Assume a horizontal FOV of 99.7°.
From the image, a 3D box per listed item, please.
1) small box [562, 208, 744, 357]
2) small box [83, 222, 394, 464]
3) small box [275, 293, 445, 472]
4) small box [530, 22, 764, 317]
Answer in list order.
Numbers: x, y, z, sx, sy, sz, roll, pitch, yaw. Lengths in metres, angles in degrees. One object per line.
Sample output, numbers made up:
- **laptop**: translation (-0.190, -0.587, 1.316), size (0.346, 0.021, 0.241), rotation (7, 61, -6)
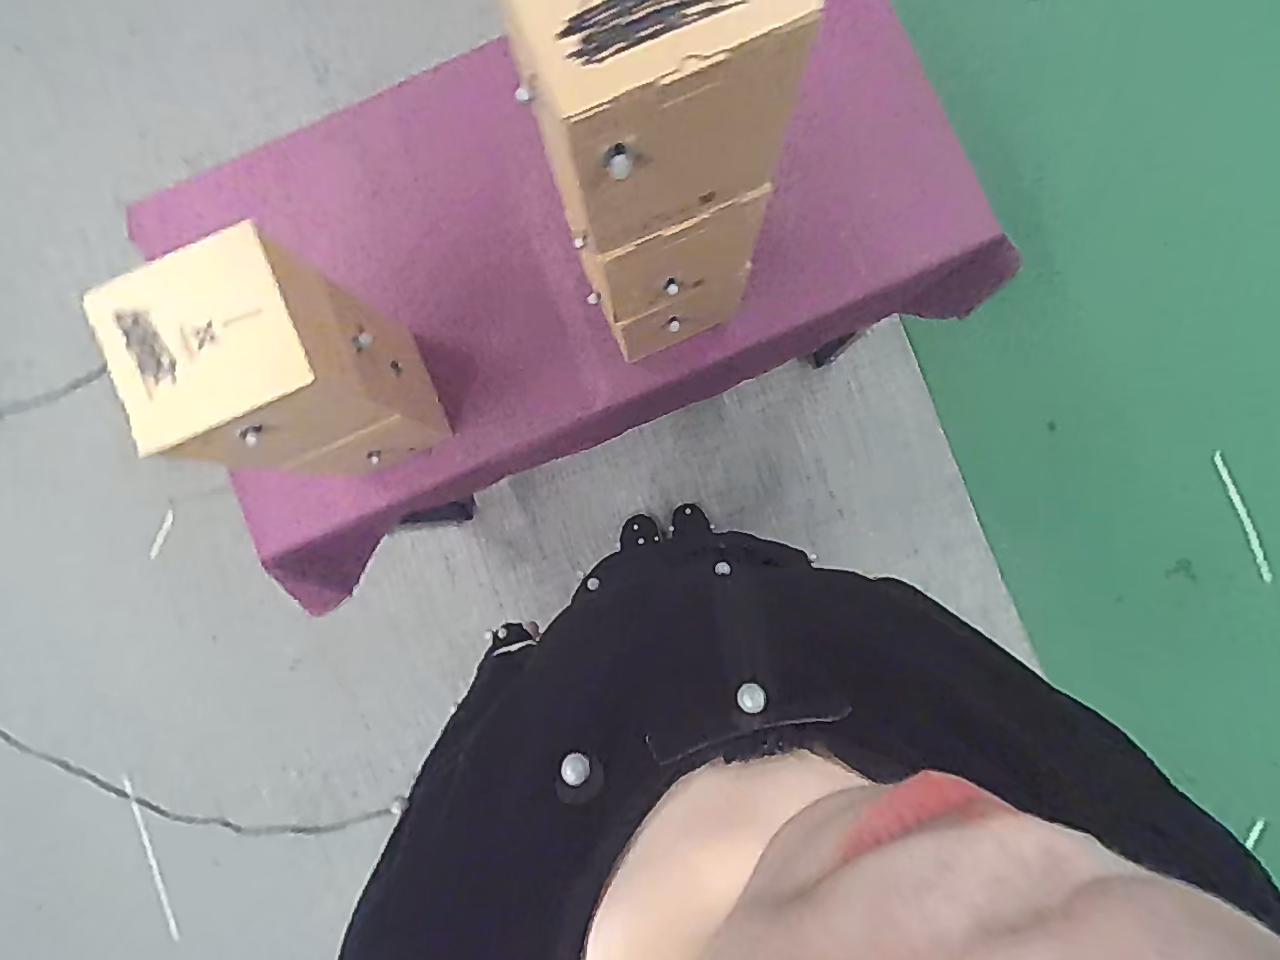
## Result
- **small box**: translation (0.020, -0.288, 0.726), size (0.179, 0.176, 0.168), rotation (-25, 86, 2)
- **small box**: translation (-0.402, -0.125, 0.572), size (0.179, 0.176, 0.168), rotation (-24, 86, 0)
- **small box**: translation (-0.394, -0.118, 0.736), size (0.168, 0.176, 0.179), rotation (-23, 86, 1)
- **small box**: translation (0.006, -0.302, 0.564), size (0.168, 0.176, 0.179), rotation (-23, 87, 1)
